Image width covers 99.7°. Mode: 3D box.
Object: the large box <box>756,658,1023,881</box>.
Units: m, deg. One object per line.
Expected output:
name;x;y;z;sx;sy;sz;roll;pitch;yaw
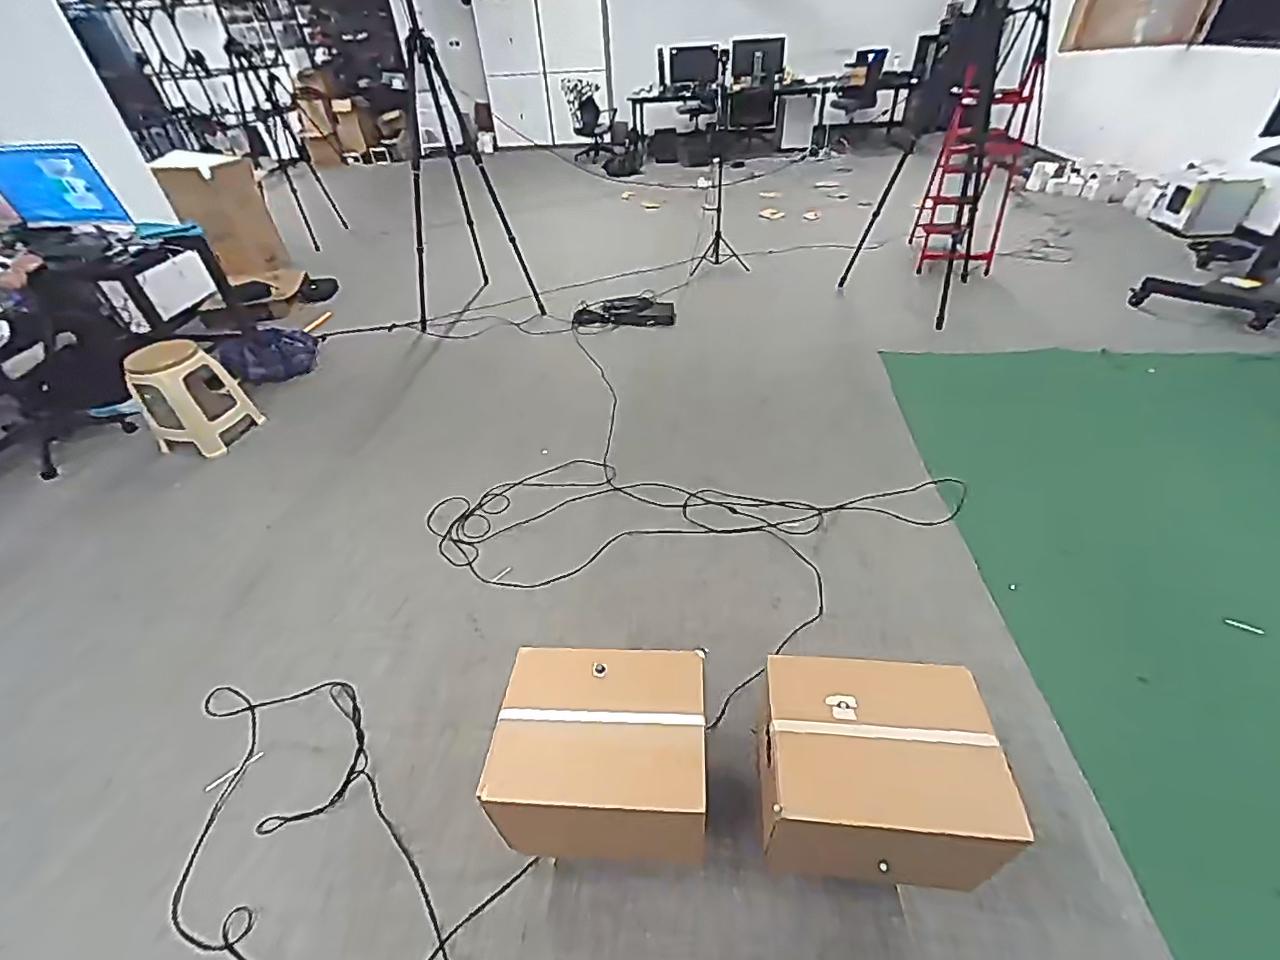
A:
large box;0.461;0.594;1.117;0.408;0.320;0.320;1;41;7
